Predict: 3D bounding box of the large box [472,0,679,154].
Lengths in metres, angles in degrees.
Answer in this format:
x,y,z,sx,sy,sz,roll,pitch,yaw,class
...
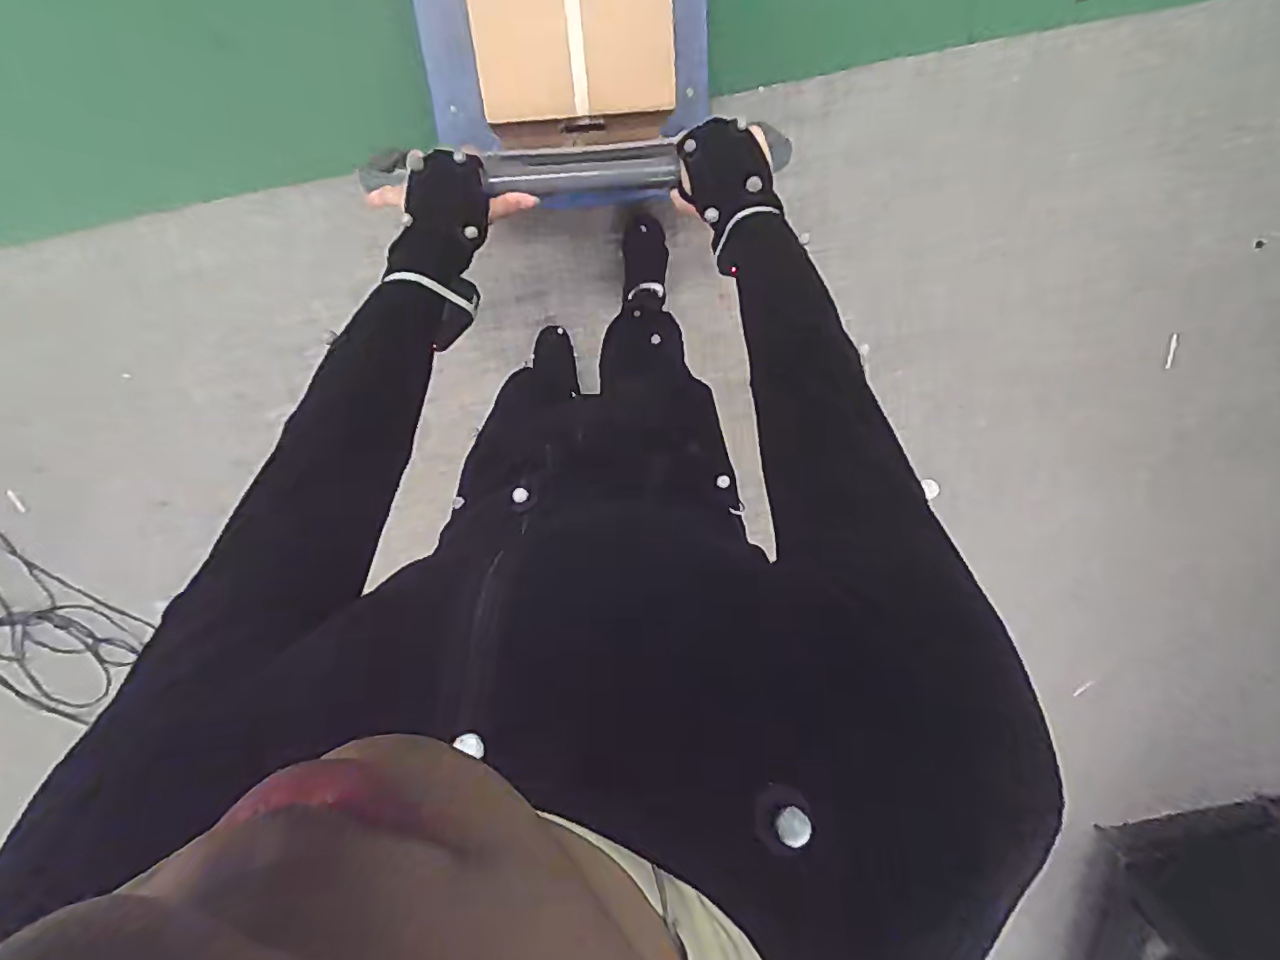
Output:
x,y,z,sx,sy,sz,roll,pitch,yaw,class
-0.115,-0.839,0.949,0.320,0.320,0.408,-6,114,-2,large box
